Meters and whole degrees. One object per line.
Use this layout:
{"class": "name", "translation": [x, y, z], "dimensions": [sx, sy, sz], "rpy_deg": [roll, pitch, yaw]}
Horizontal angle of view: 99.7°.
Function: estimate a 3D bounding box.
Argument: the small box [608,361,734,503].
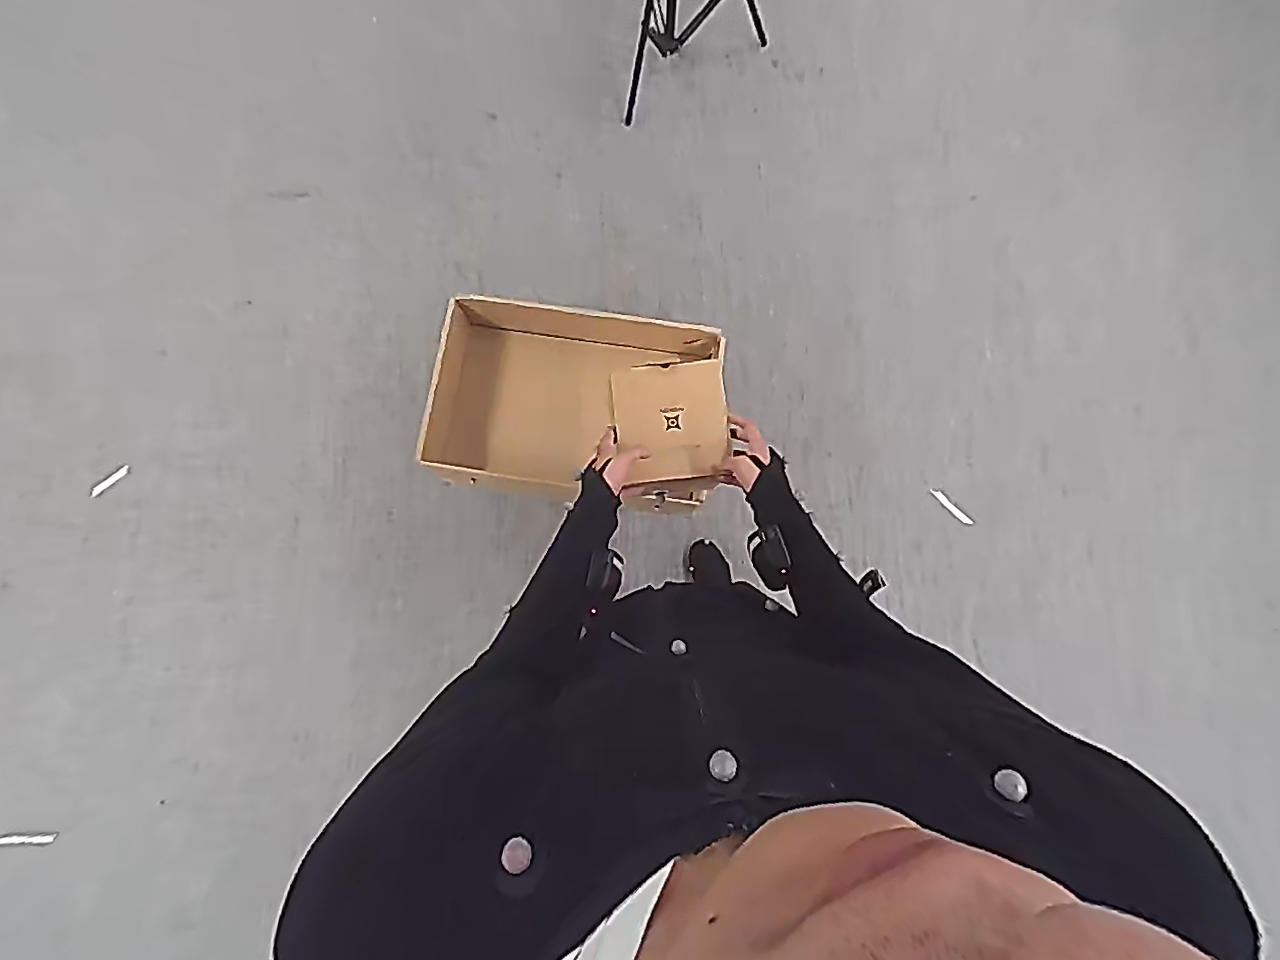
{"class": "small box", "translation": [0.039, -0.068, 0.848], "dimensions": [0.168, 0.176, 0.179], "rpy_deg": [-6, 81, -4]}
